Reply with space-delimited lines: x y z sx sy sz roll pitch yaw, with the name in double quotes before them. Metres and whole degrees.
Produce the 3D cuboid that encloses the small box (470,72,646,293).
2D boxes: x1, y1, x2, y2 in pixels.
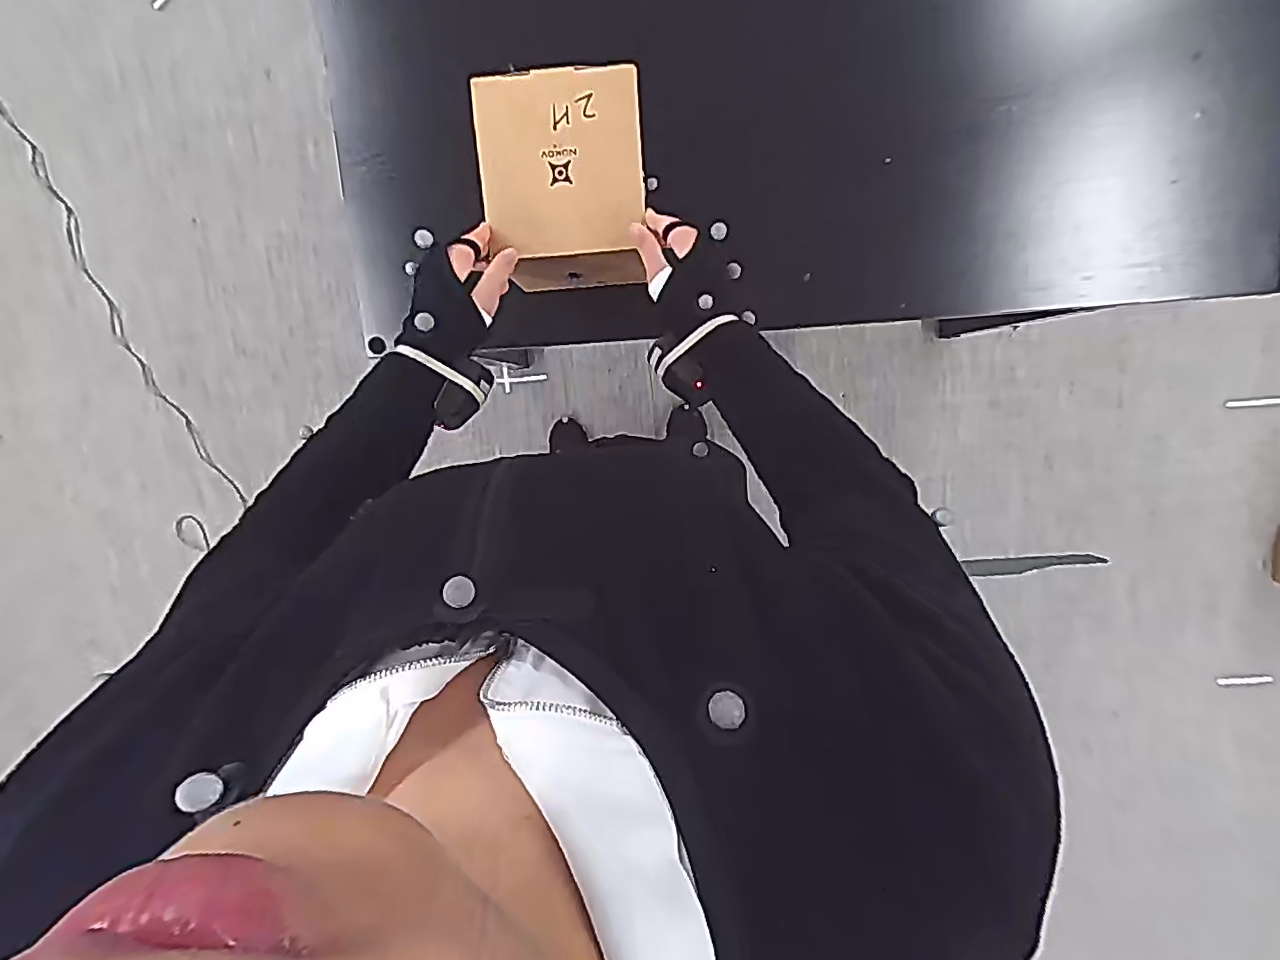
"small box" -0.081 -0.322 0.626 0.168 0.176 0.179 -5 97 1
